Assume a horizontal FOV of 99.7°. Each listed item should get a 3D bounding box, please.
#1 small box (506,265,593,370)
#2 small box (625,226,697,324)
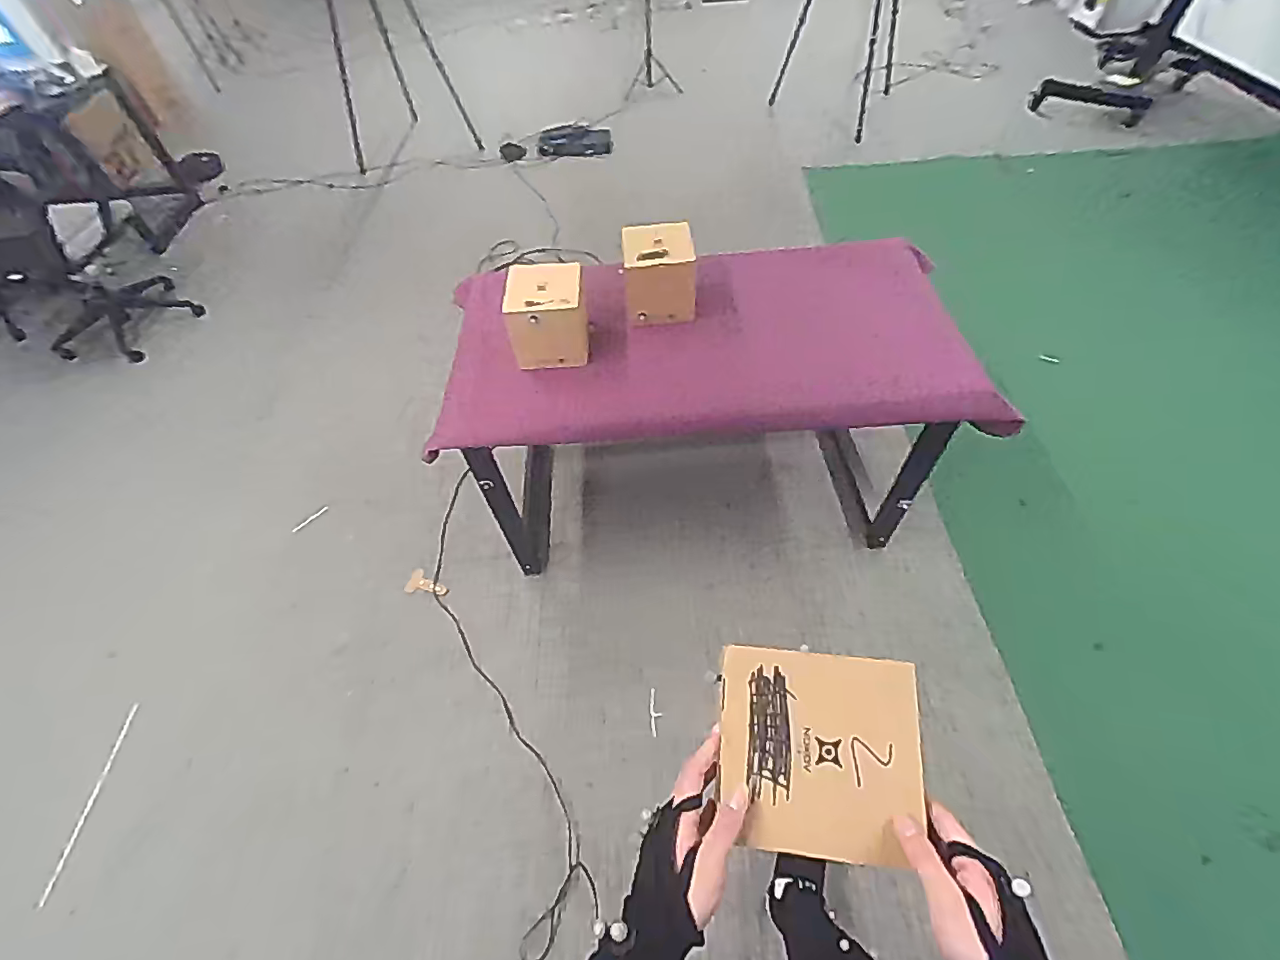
[{"bbox_3d":[-0.205,-0.383,1.279,0.168,0.176,0.179,-4,53,3],"label":"small box"},{"bbox_3d":[0.054,-0.506,1.354,0.168,0.176,0.179,-4,53,1],"label":"small box"}]
